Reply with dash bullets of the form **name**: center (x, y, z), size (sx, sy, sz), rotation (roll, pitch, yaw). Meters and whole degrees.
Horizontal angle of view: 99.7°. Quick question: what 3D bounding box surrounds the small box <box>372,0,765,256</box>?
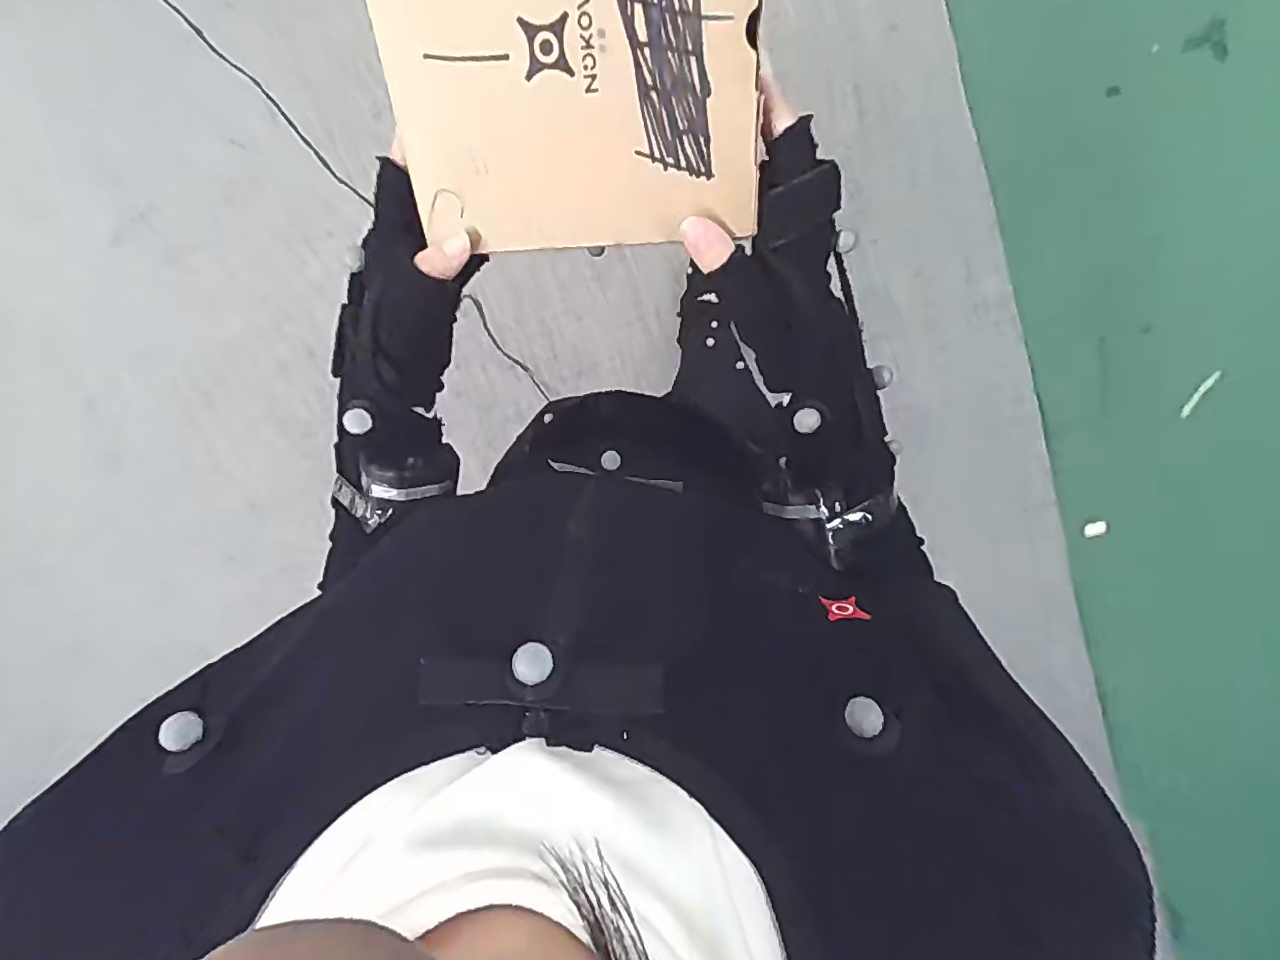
- **small box**: center (-0.025, -0.236, 0.313), size (0.179, 0.176, 0.168), rotation (0, 122, 7)
